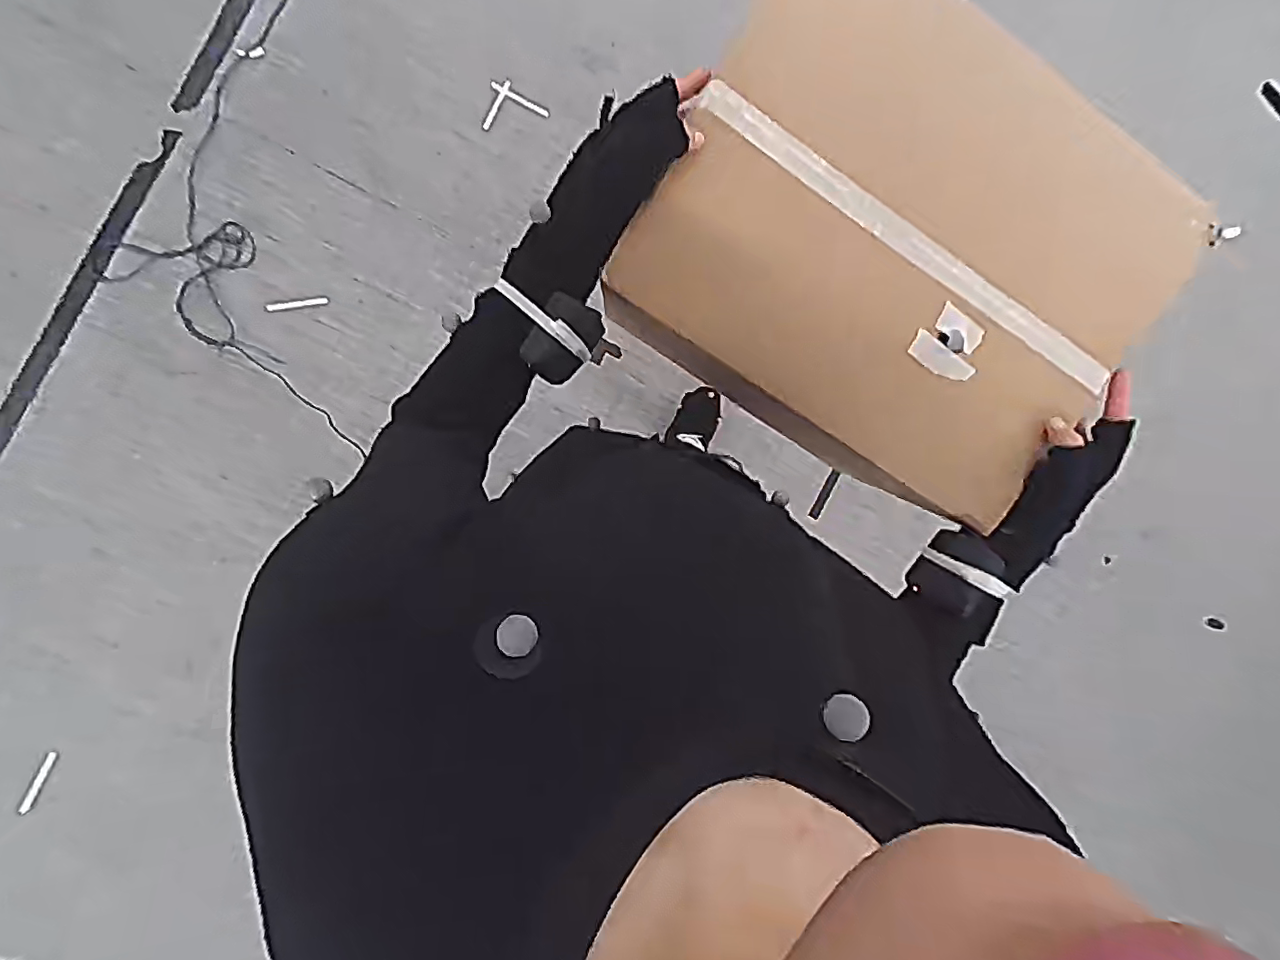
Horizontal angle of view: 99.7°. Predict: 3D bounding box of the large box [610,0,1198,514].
[{"bbox_3d":[0.212,-0.223,0.589,0.408,0.320,0.320,32,99,-9],"label":"large box"}]
